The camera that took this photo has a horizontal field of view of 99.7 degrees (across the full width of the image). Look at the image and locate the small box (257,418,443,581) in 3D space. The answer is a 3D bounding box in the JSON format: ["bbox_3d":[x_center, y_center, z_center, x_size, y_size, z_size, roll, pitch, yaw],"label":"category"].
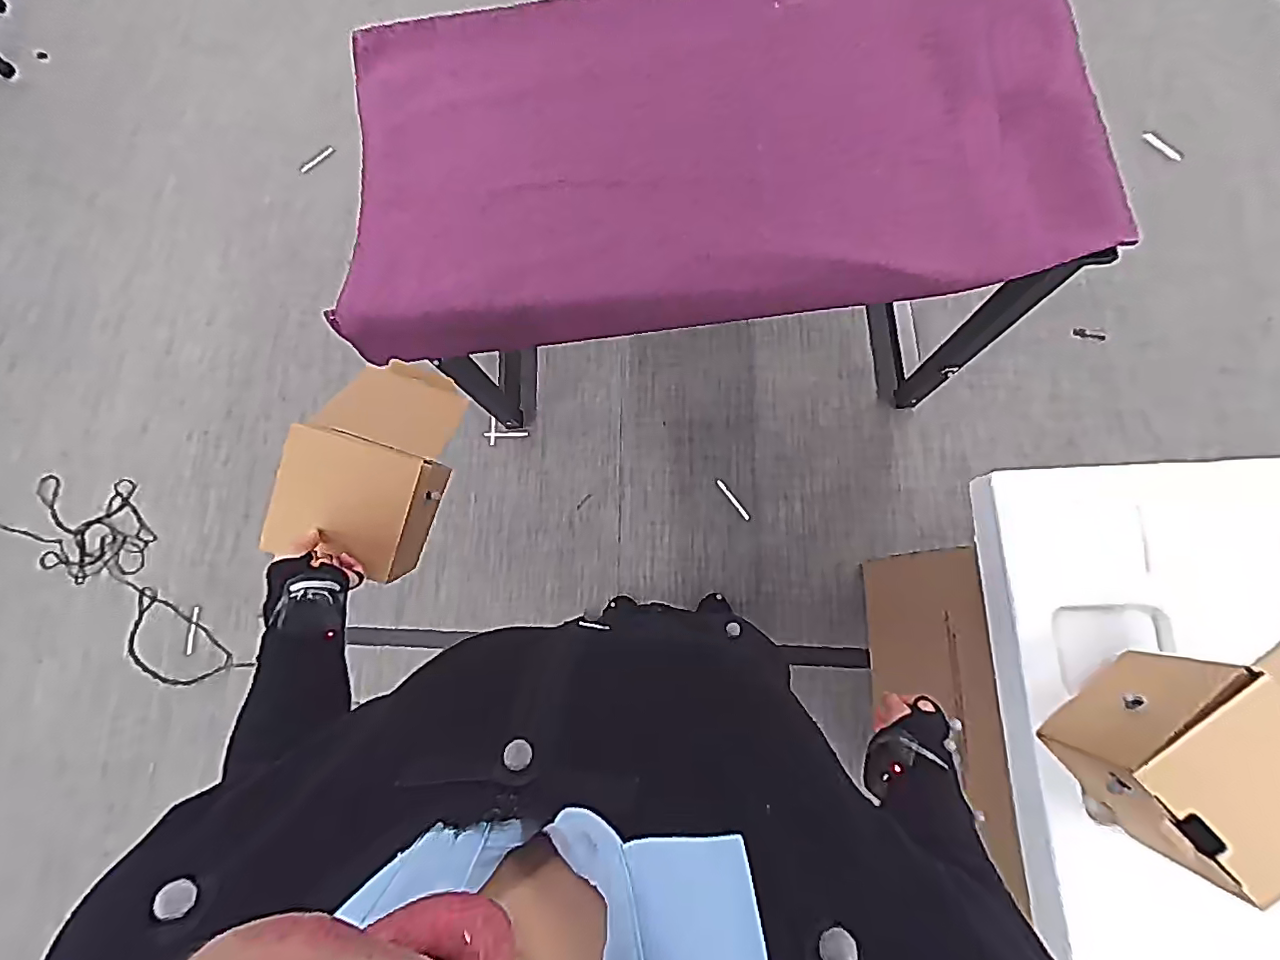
[{"bbox_3d":[-0.398,0.028,0.780,0.168,0.176,0.179,19,85,-10],"label":"small box"}]
